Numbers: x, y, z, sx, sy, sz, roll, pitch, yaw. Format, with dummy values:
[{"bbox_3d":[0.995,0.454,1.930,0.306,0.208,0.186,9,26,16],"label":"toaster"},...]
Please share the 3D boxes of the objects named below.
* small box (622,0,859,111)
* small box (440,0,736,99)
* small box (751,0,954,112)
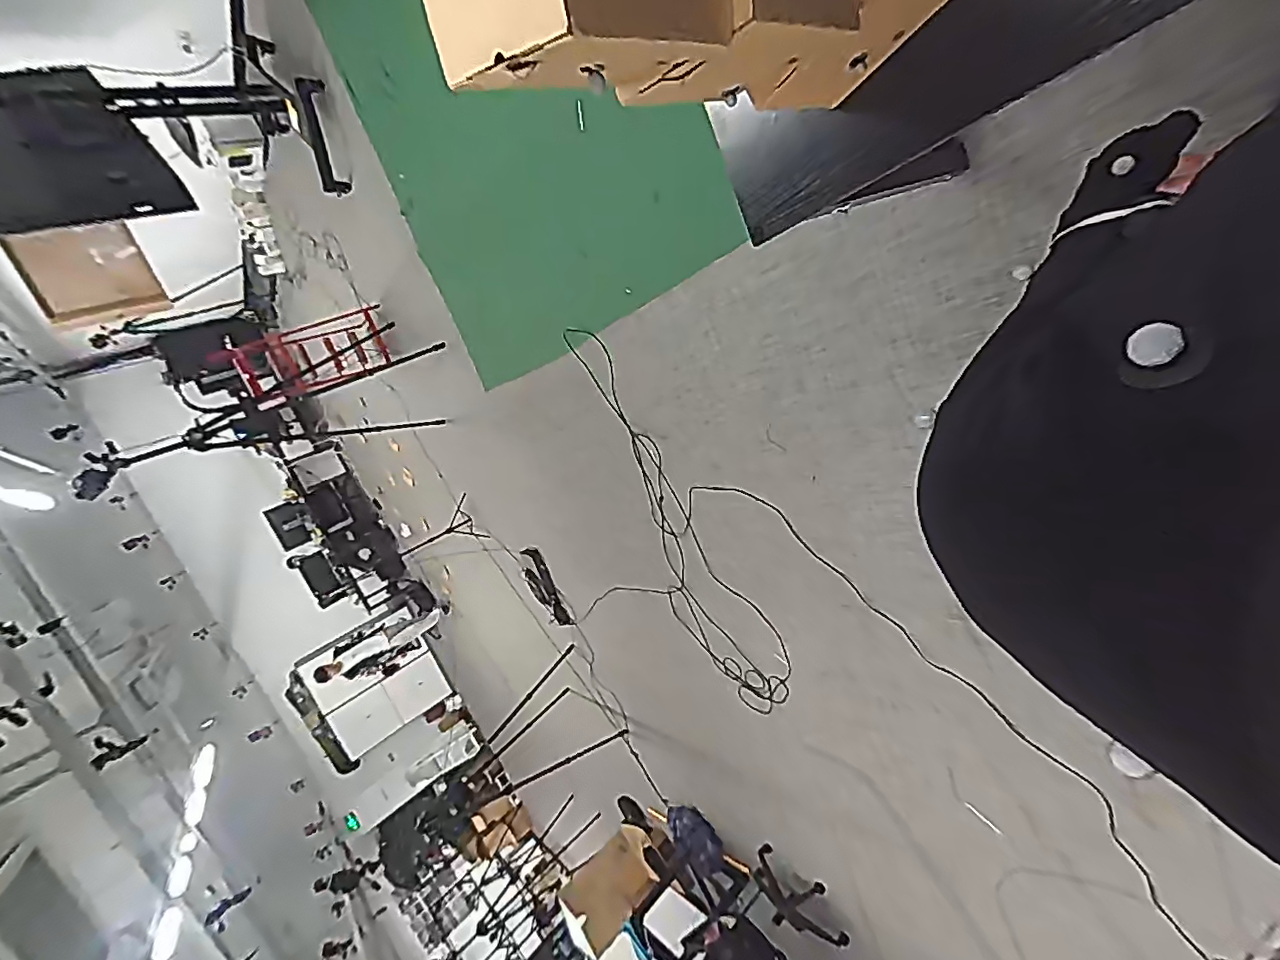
[{"bbox_3d":[0.080,-0.464,0.487,0.168,0.176,0.179,10,122,48],"label":"small box"},{"bbox_3d":[-0.041,-0.402,0.395,0.168,0.176,0.179,21,132,41],"label":"small box"},{"bbox_3d":[0.199,-0.532,0.577,0.168,0.176,0.179,-23,97,55],"label":"small box"}]
